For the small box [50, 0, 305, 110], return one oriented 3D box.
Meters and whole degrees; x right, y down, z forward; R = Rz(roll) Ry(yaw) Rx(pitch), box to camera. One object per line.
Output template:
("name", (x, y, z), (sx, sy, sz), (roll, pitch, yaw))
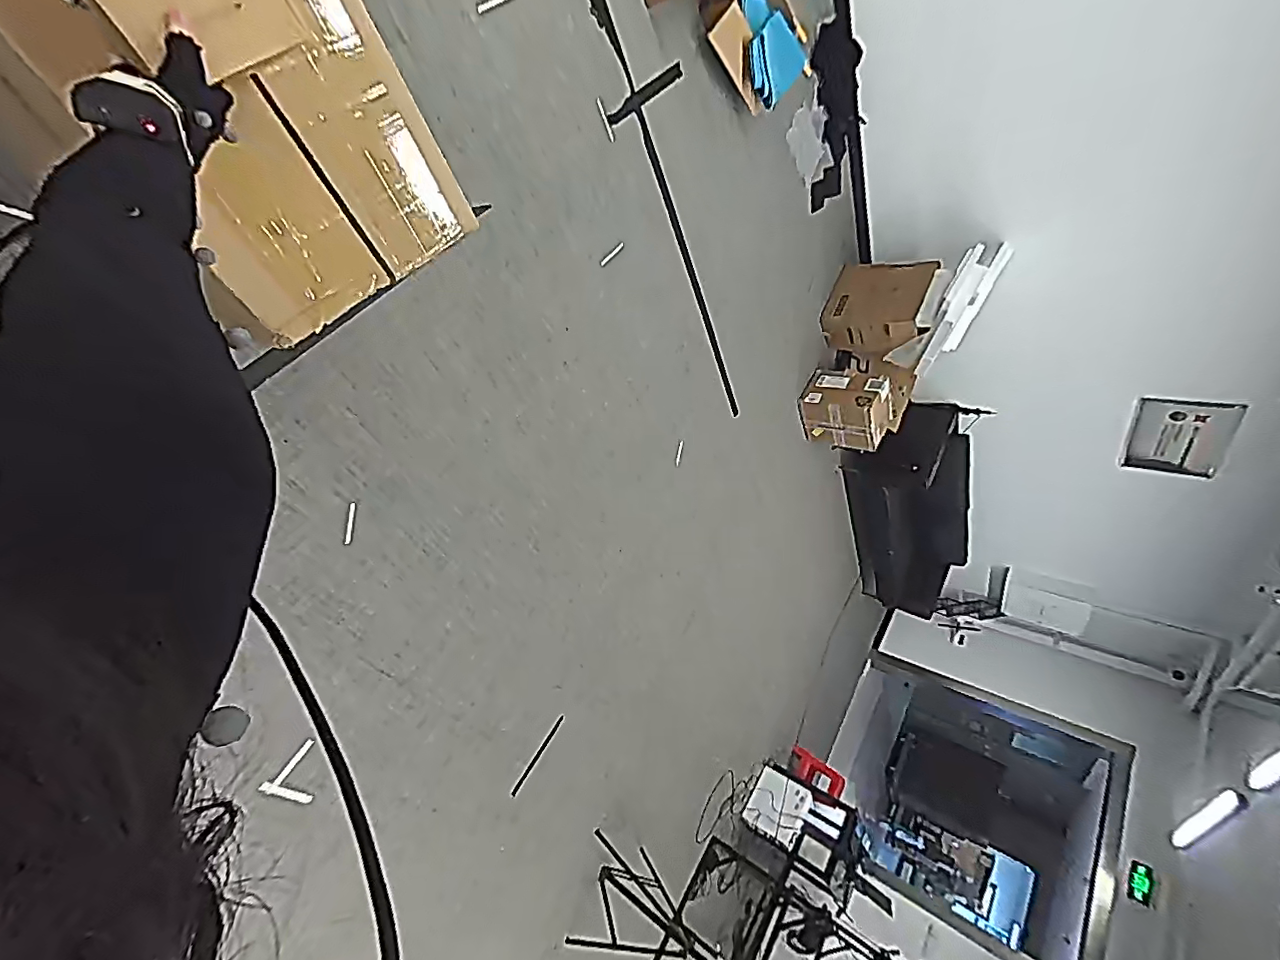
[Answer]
("small box", (-0.507, -0.522, 0.562), (0.168, 0.176, 0.179), (-49, 138, -24))
